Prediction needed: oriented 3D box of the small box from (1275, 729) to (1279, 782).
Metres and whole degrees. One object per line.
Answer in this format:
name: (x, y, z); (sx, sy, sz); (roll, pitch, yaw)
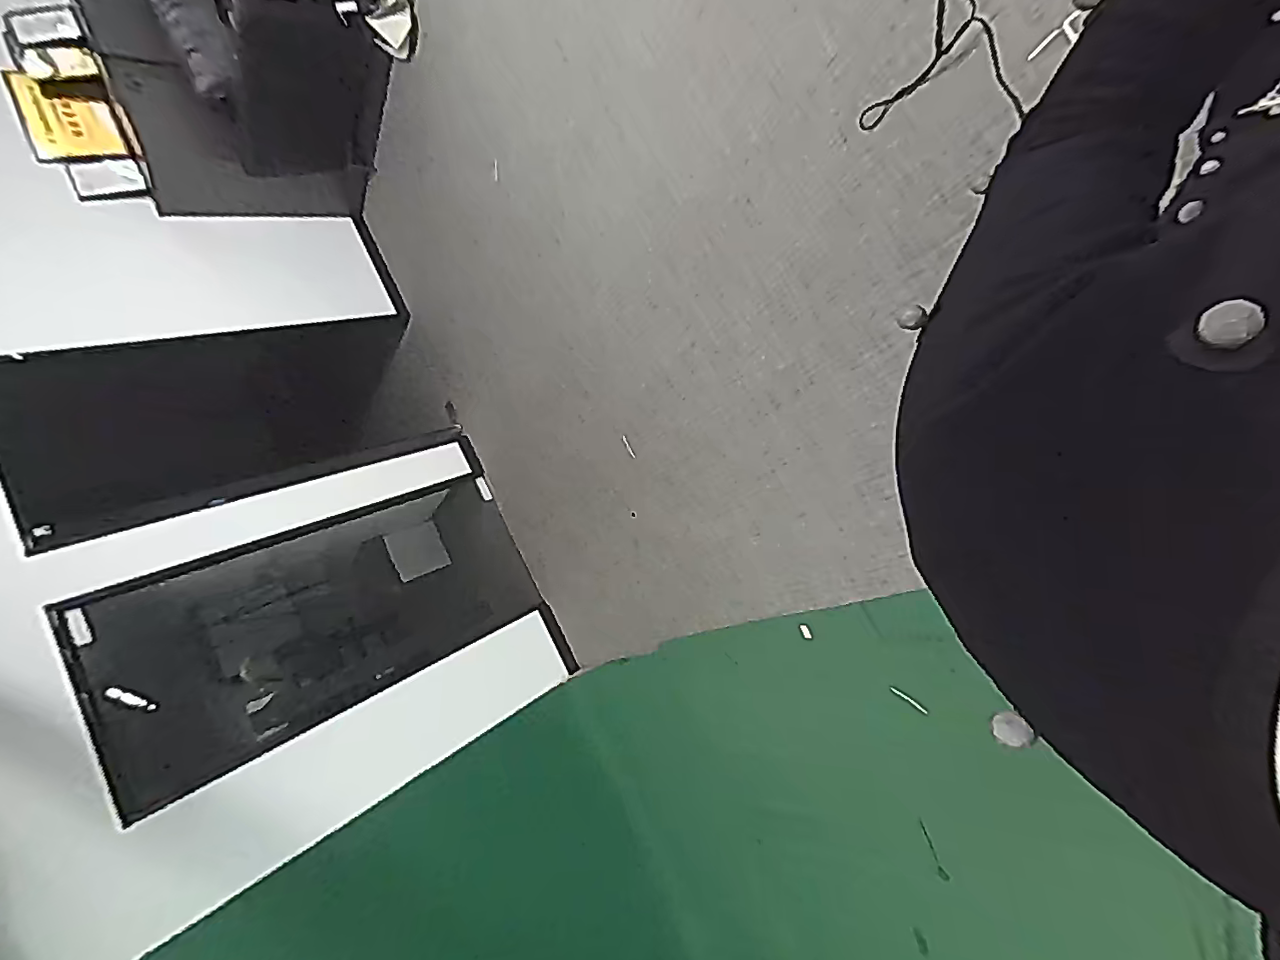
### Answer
small box: (1.325, 0.577, 0.987); (0.168, 0.176, 0.179); (-32, 81, 51)
